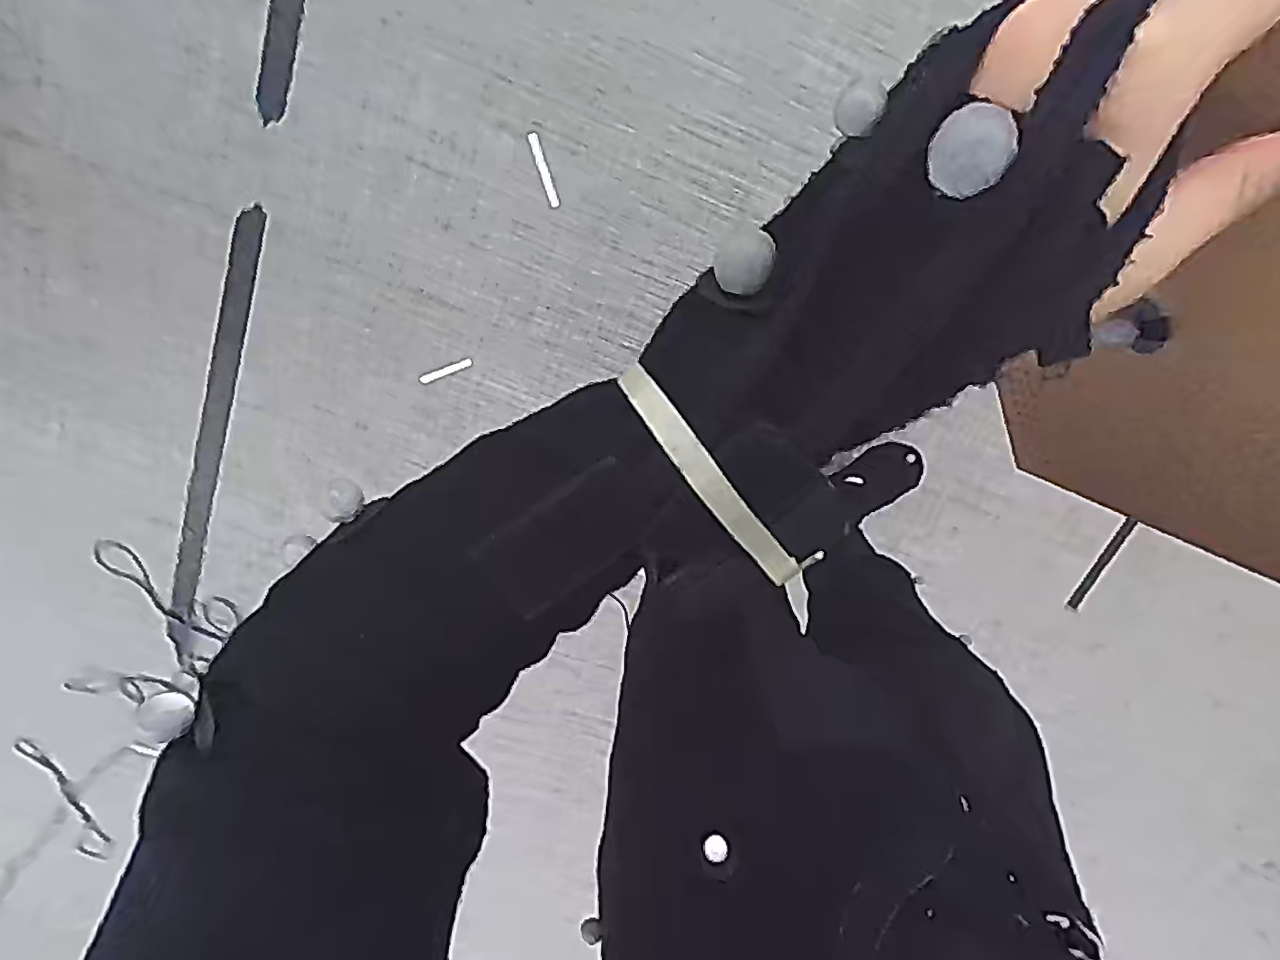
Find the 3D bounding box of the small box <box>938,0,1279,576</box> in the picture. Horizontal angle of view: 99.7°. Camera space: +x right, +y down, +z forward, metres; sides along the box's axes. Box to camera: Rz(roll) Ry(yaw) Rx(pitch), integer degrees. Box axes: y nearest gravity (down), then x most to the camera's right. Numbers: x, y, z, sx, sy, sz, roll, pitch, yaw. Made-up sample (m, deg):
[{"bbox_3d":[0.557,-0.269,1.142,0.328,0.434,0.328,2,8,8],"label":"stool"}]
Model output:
[{"bbox_3d":[0.243,-0.090,0.187,0.168,0.176,0.179,-26,107,6],"label":"small box"}]
